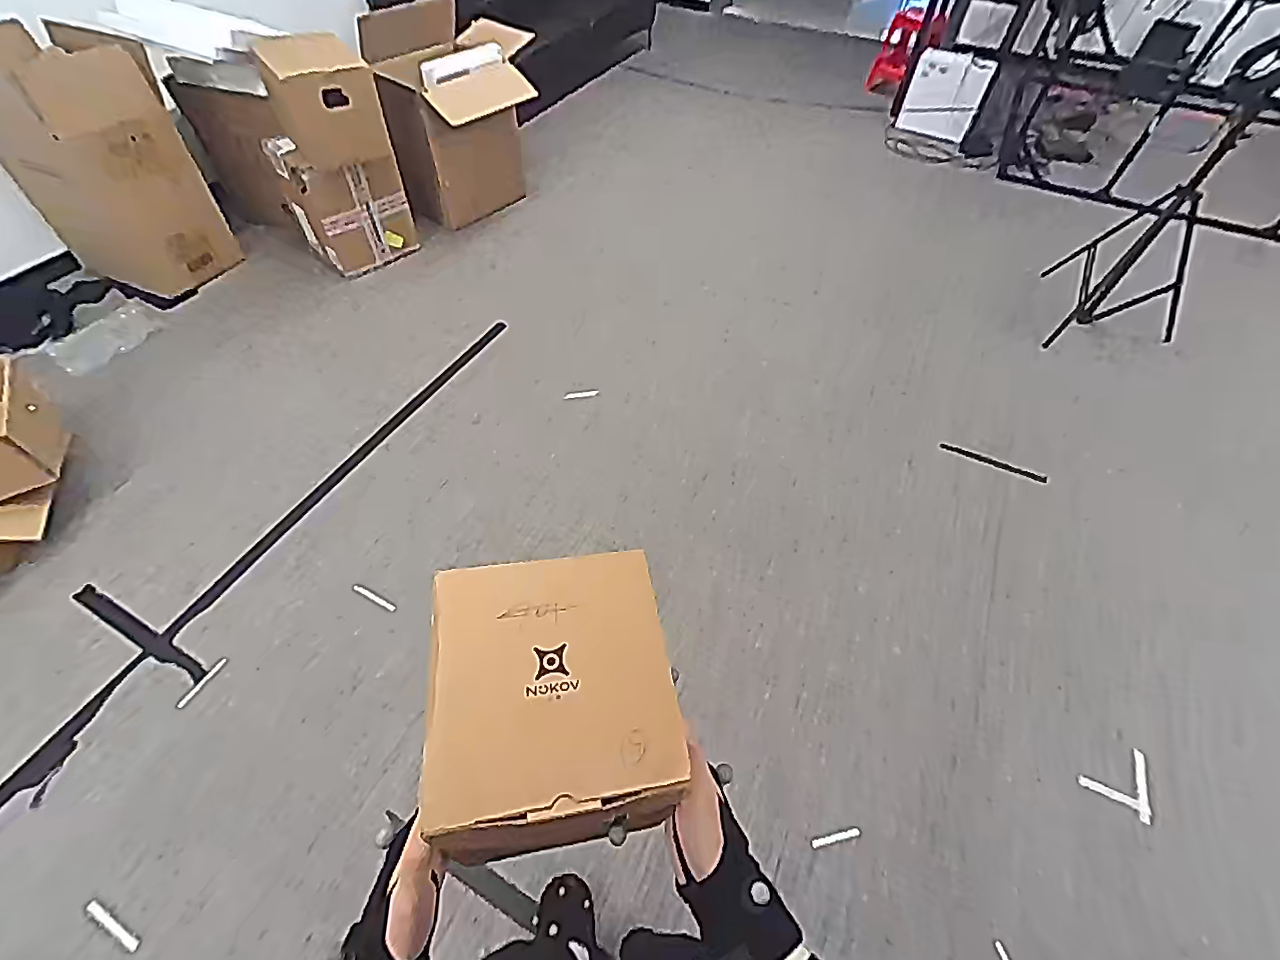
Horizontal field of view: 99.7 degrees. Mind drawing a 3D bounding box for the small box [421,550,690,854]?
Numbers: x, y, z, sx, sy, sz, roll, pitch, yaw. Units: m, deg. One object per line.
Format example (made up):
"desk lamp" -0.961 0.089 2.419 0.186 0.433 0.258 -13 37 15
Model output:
"small box" -0.069 0.181 0.435 0.168 0.176 0.179 -5 50 -12
